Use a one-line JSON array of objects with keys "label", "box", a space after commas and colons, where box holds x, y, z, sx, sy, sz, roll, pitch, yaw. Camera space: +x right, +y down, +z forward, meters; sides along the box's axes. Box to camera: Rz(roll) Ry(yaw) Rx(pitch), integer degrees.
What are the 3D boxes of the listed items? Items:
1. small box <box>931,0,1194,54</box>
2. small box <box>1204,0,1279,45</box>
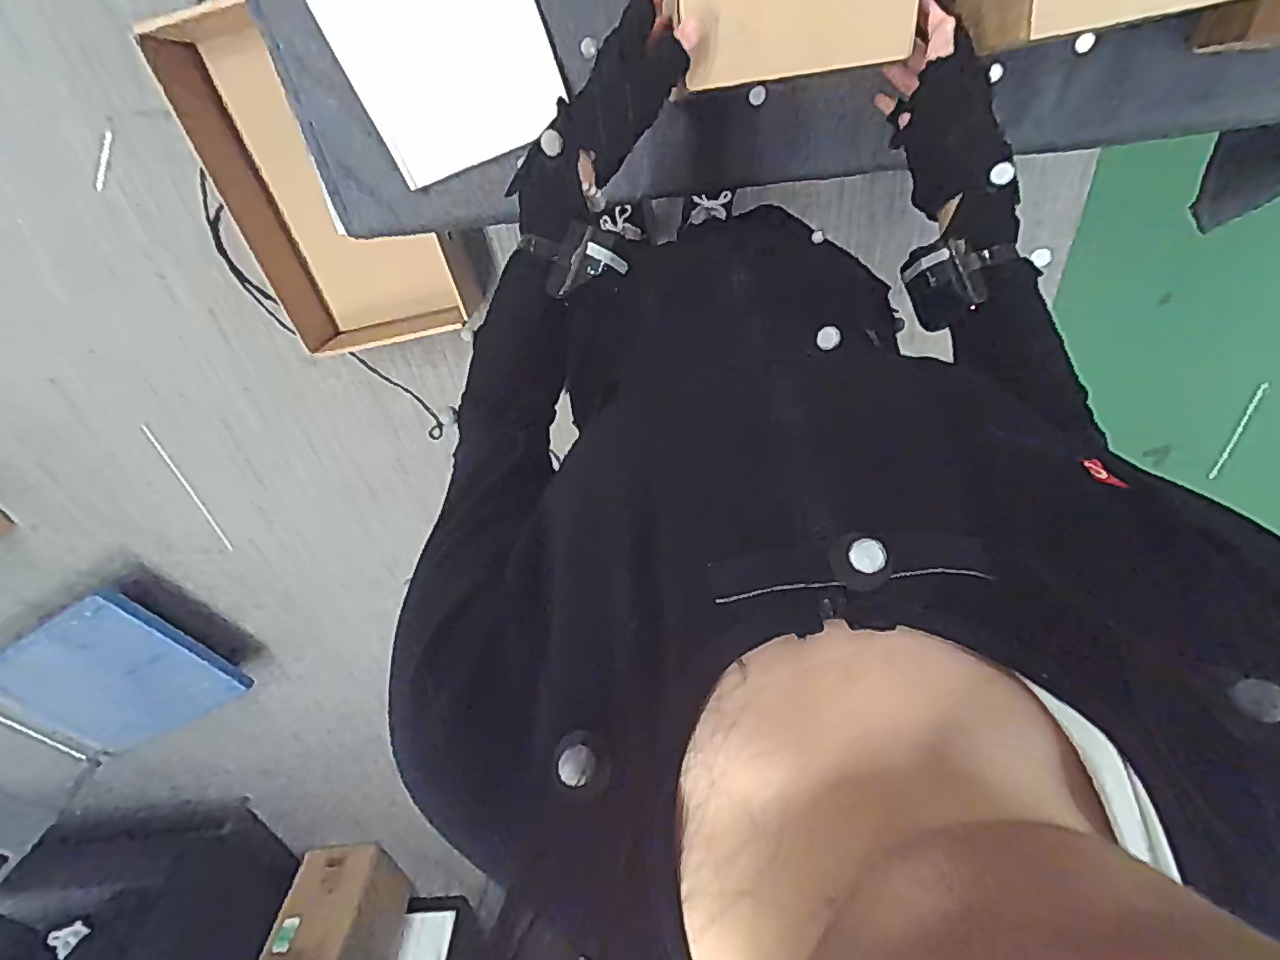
[{"label": "small box", "box": [0.352, -0.450, 0.412, 0.179, 0.176, 0.168, -9, 122, 4]}, {"label": "small box", "box": [0.613, -0.460, 0.412, 0.168, 0.176, 0.179, -3, 123, 1]}]
